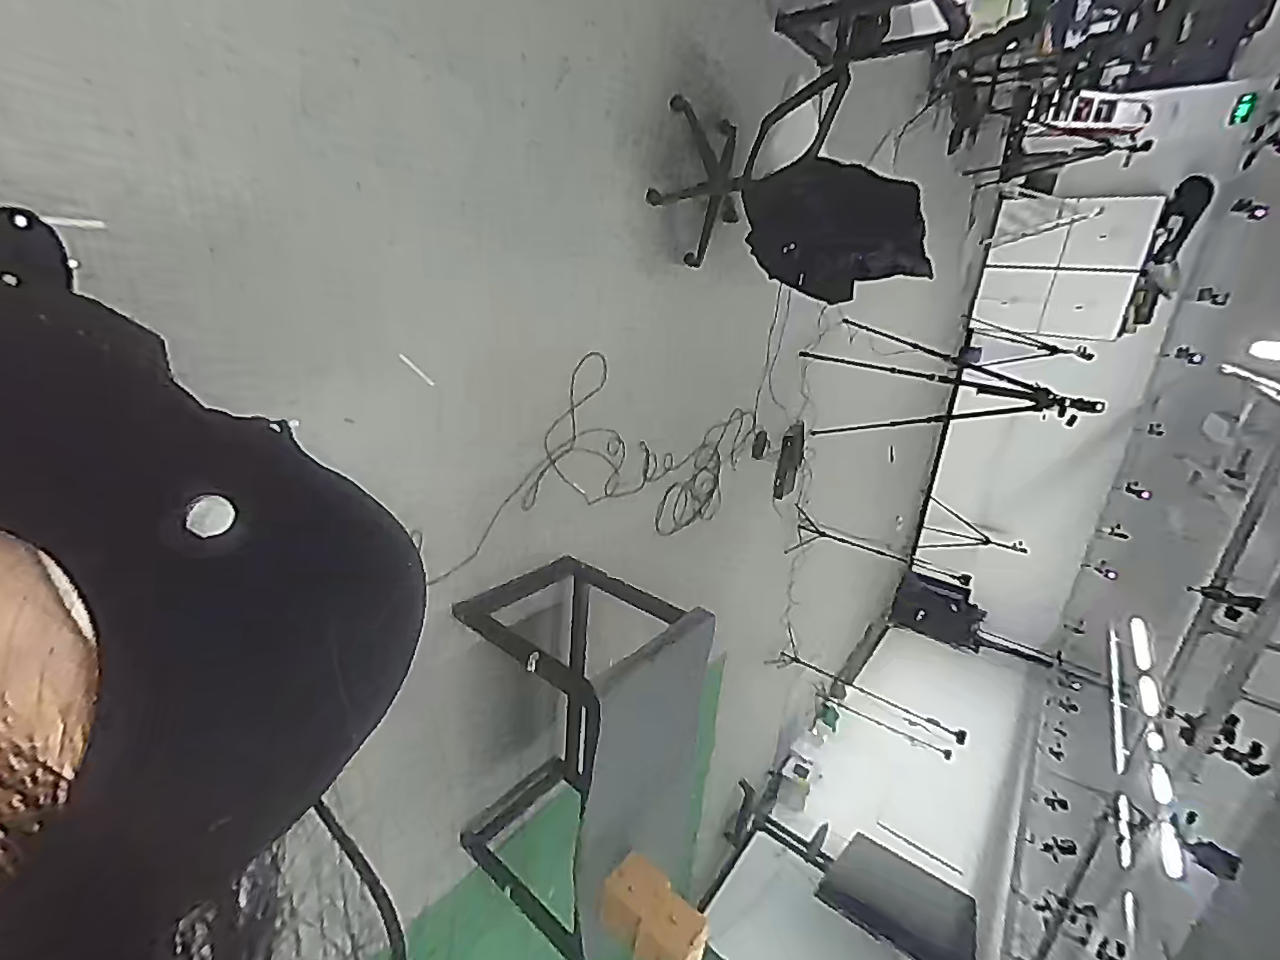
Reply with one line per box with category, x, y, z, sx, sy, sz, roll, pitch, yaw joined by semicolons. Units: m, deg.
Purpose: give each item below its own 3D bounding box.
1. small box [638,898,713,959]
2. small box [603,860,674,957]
small box;0.110;1.486;1.717;0.168;0.176;0.179;-9;111;-52
small box;-0.008;1.431;1.820;0.168;0.176;0.179;-13;116;-51
